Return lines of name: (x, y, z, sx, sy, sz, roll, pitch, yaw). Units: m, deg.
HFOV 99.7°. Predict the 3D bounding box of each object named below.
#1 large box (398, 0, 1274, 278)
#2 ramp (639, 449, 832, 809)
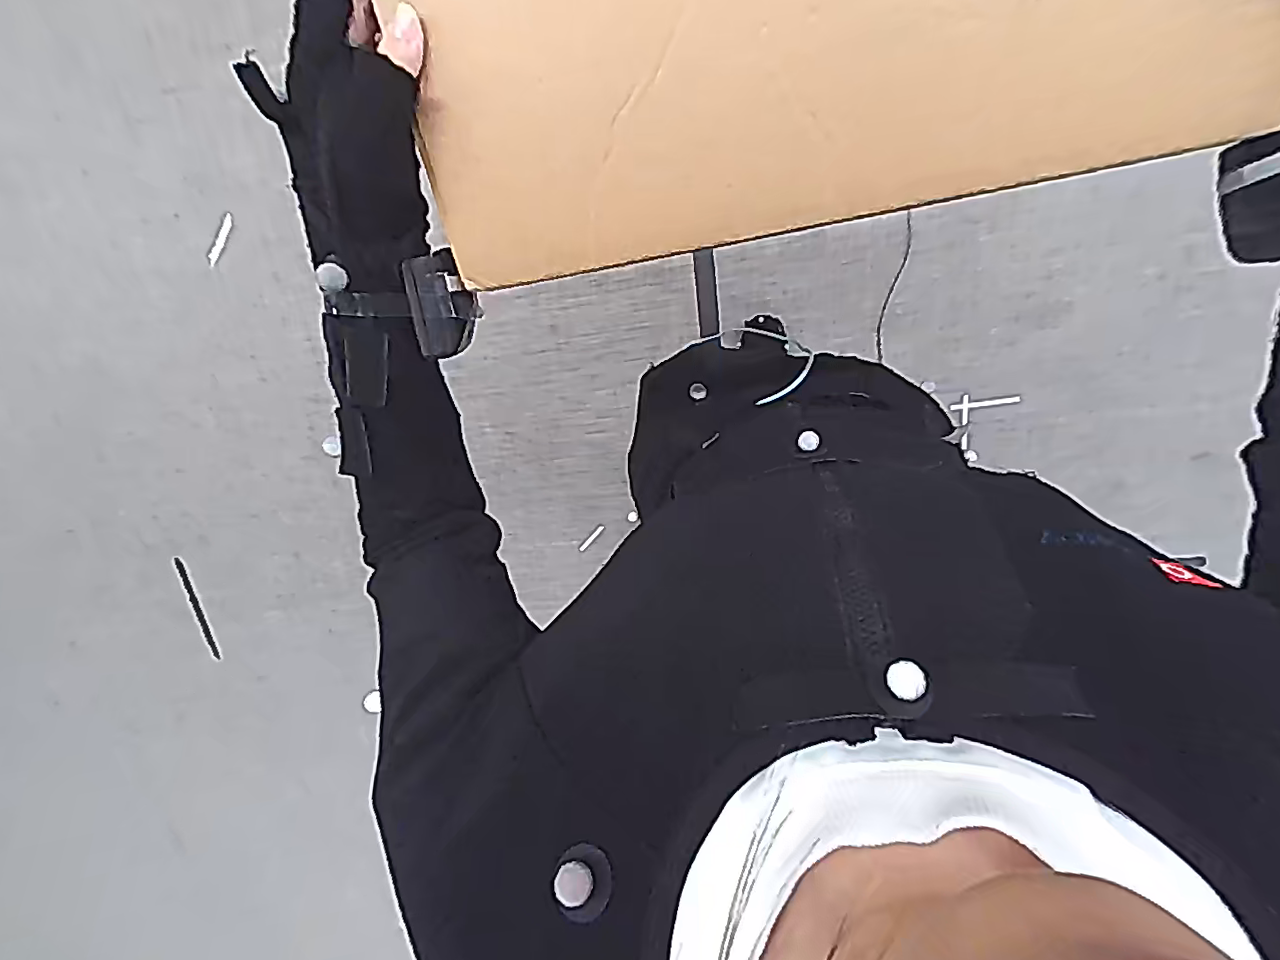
large box: (0.082, -0.349, 0.366, 0.408, 0.320, 0.320, -7, 115, 11)
ramp: (0.260, 0.423, 1.494, 0.509, 0.206, 0.991, -4, 105, 11)
